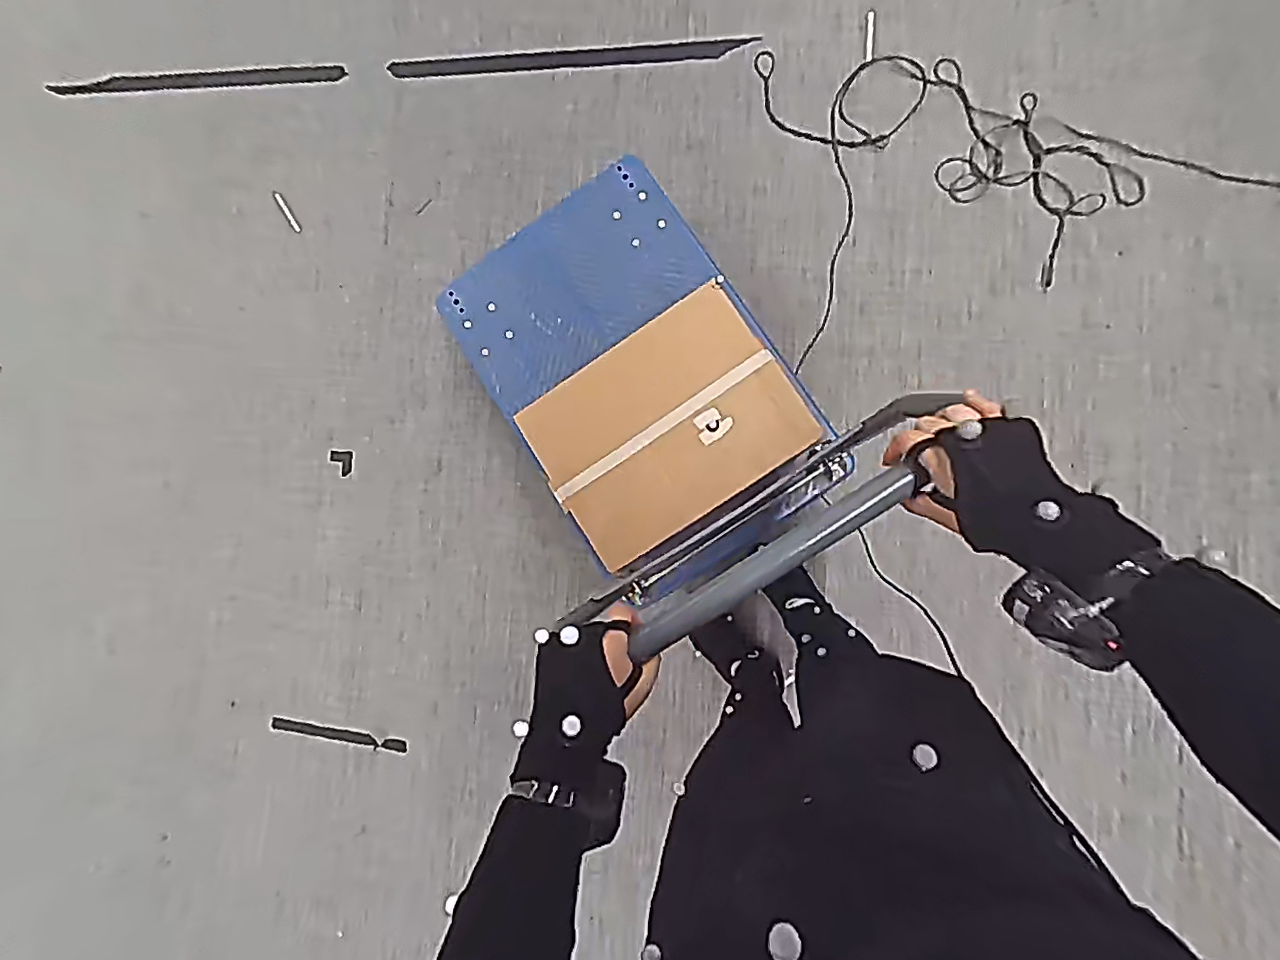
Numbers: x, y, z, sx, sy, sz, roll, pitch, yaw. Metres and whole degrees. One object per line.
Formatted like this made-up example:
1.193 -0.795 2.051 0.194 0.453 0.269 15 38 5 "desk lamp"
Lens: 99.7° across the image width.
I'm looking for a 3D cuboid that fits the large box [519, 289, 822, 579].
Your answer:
0.059 -0.062 1.011 0.408 0.320 0.320 -34 83 4 "large box"
